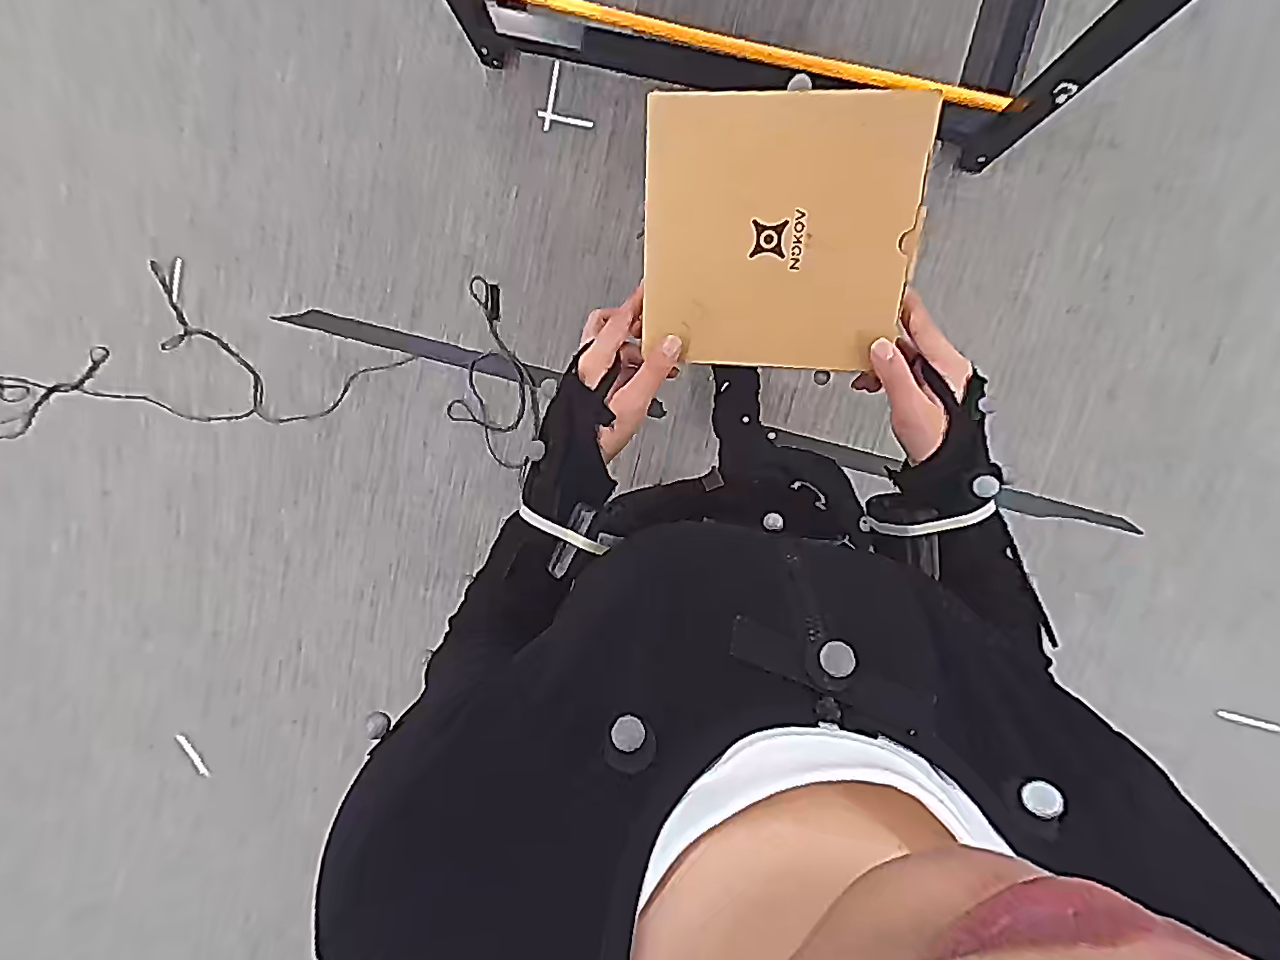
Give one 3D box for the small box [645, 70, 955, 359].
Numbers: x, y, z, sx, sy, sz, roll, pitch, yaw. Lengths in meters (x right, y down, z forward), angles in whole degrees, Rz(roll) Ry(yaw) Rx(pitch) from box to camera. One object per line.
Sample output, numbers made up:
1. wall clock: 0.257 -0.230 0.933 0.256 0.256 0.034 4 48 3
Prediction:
1. small box: 0.103 -0.192 0.420 0.179 0.176 0.168 4 111 6
